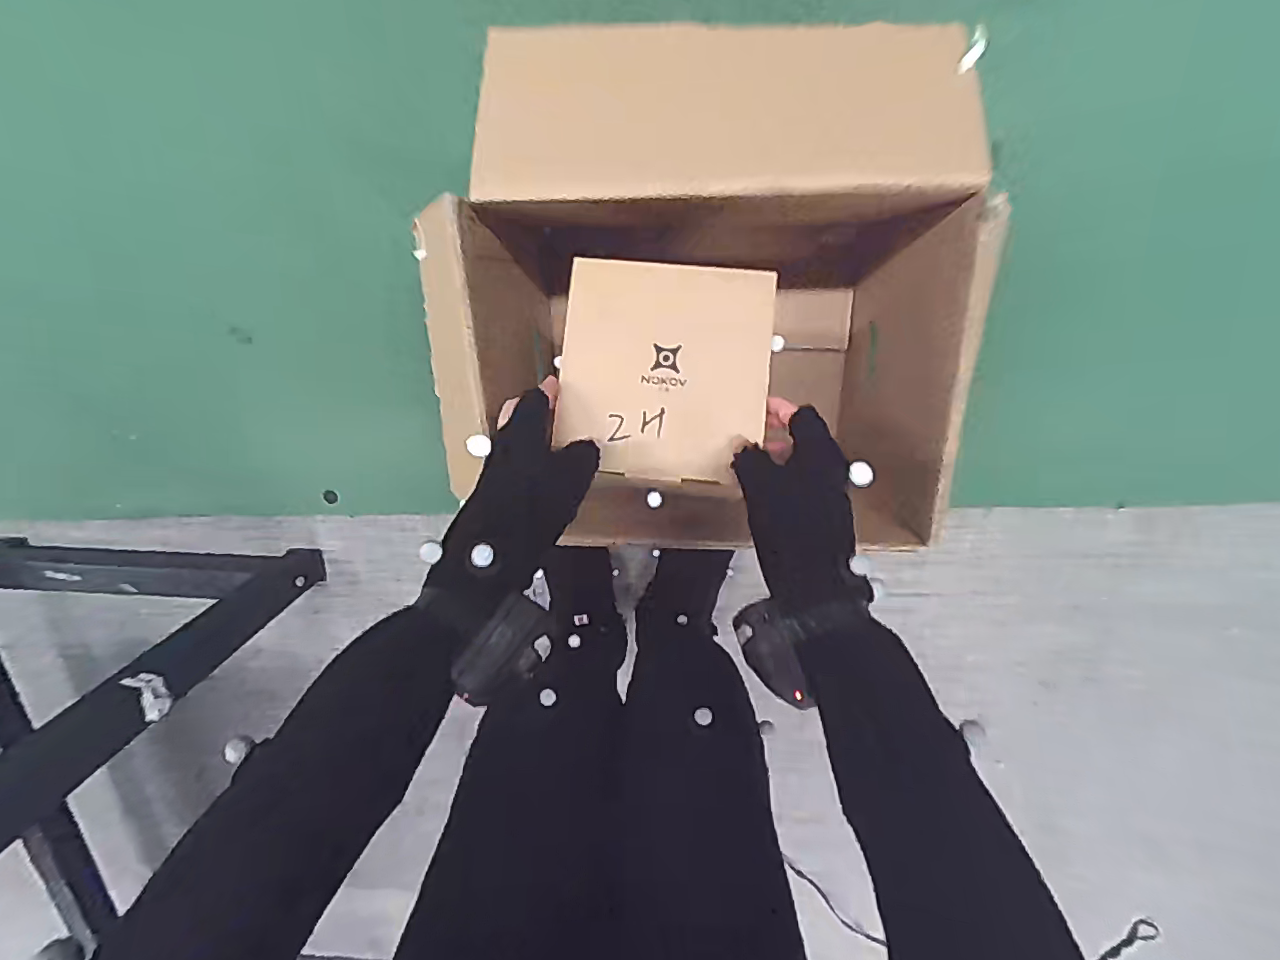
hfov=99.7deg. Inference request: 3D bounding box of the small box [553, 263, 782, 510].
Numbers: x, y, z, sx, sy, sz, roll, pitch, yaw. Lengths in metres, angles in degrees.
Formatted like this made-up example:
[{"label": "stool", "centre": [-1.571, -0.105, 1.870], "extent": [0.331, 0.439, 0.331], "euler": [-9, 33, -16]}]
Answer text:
[{"label": "small box", "centre": [0.025, -0.072, 0.501], "extent": [0.168, 0.176, 0.179], "euler": [6, 83, 3]}]
